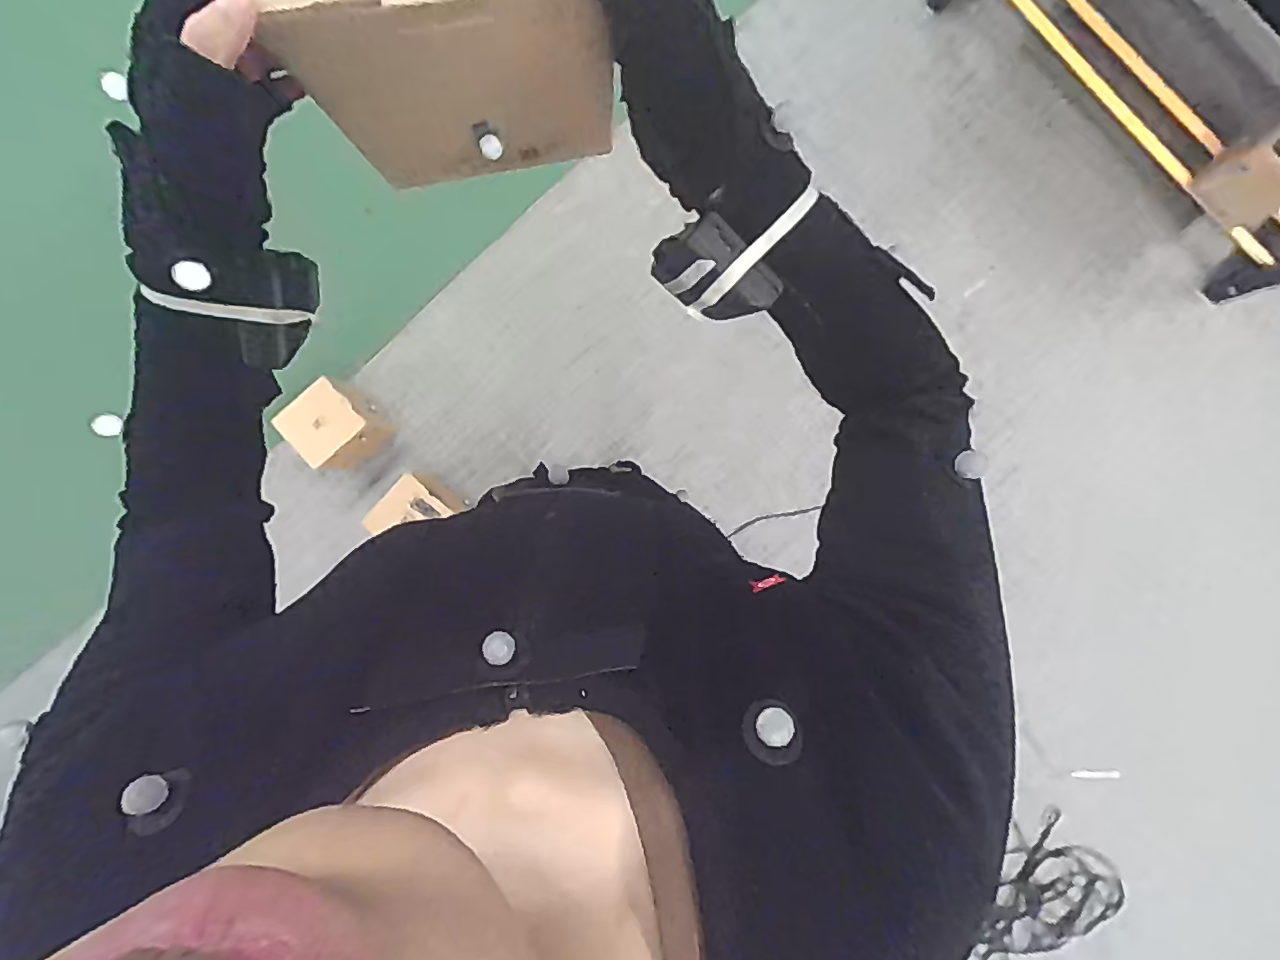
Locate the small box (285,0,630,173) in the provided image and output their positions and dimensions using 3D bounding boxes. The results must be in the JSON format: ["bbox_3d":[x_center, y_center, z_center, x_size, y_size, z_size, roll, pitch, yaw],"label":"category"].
[{"bbox_3d":[-0.101,-0.315,0.312,0.168,0.176,0.179,-10,95,-2],"label":"small box"}]

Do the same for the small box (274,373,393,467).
[{"bbox_3d":[-0.786,-0.146,1.407,0.179,0.176,0.168,-42,91,-1],"label":"small box"}]

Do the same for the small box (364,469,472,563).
[{"bbox_3d":[-0.563,0.089,1.406,0.168,0.176,0.179,42,90,0],"label":"small box"}]
